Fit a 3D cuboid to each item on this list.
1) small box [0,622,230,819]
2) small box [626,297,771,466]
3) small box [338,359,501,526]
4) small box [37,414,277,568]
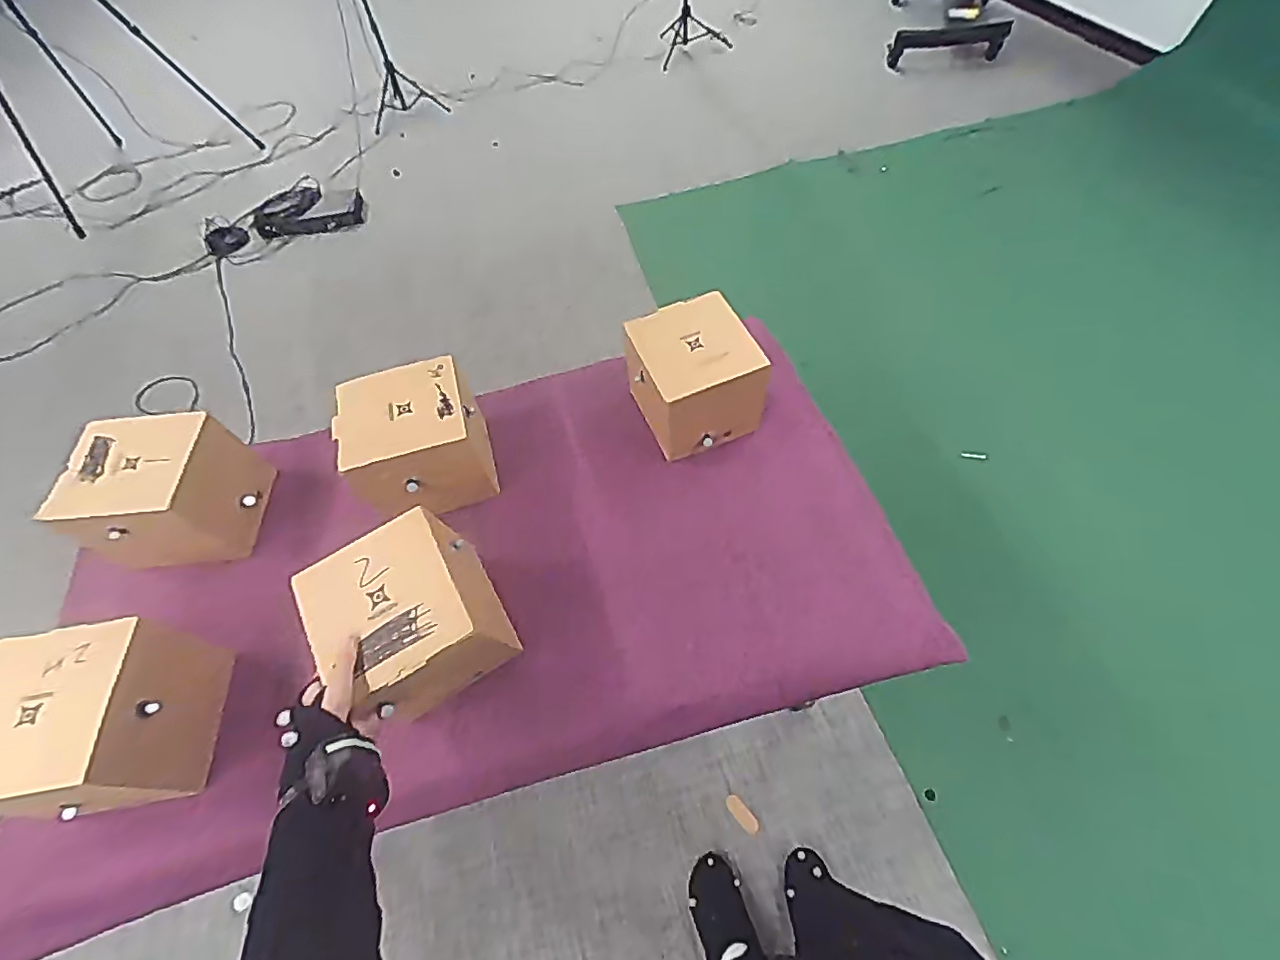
[{"bbox_3d":[-0.631,0.287,0.634,0.168,0.176,0.179,-9,57,-2],"label":"small box"},{"bbox_3d":[0.087,-0.154,0.867,0.168,0.176,0.179,-21,60,-7],"label":"small box"},{"bbox_3d":[-0.332,-0.051,0.830,0.179,0.176,0.168,-17,60,-6],"label":"small box"},{"bbox_3d":[-0.694,0.023,0.806,0.179,0.176,0.168,-5,59,-1],"label":"small box"}]
